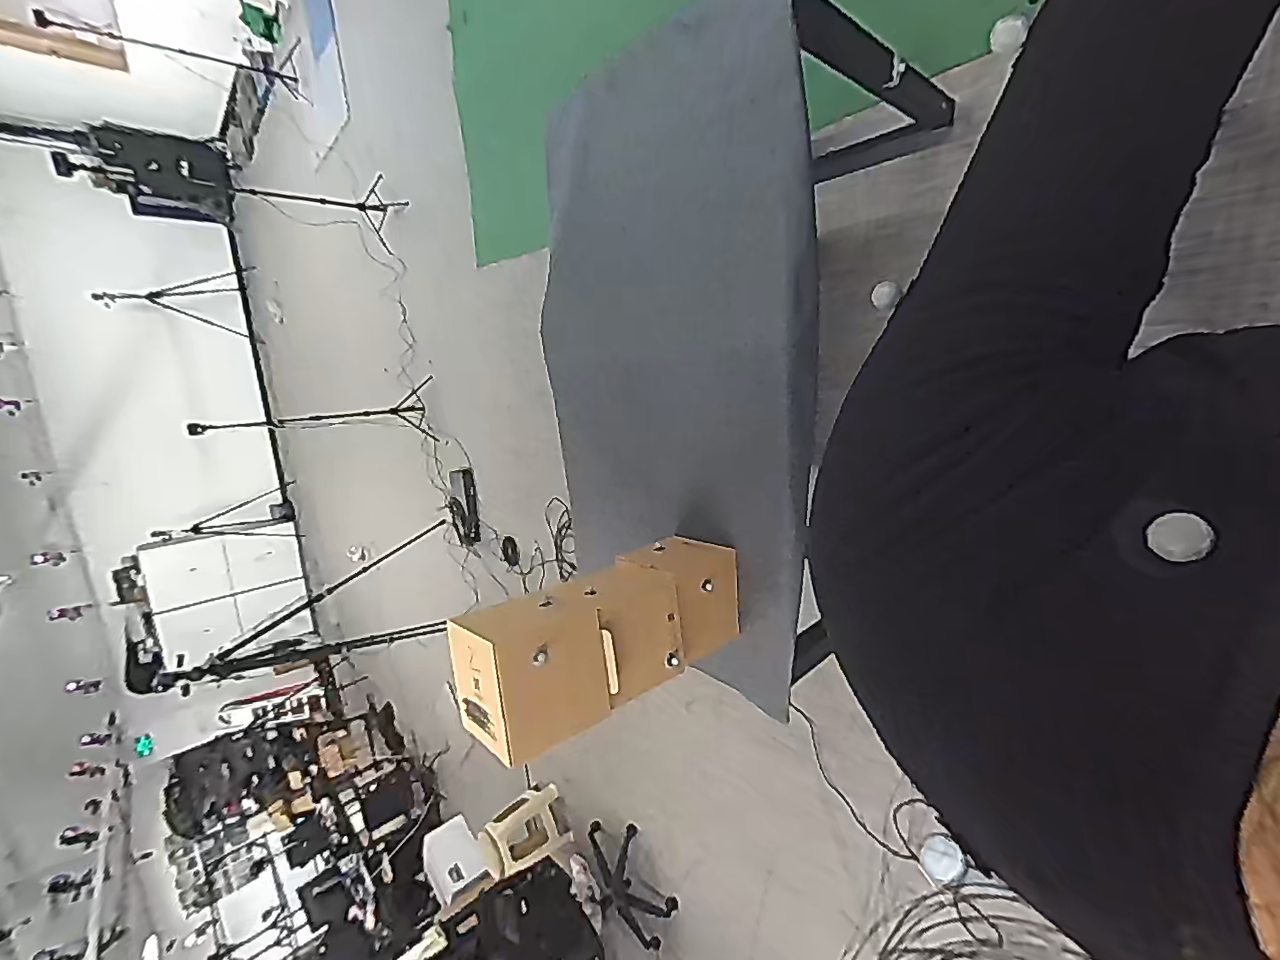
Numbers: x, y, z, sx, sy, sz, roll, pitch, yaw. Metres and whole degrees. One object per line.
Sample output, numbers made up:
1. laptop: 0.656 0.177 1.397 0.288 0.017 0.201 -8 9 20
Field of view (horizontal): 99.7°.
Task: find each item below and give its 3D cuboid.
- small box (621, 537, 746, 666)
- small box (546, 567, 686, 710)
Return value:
1. small box: 0.086 0.218 1.030 0.168 0.176 0.179 7 106 50
2. small box: -0.036 0.256 0.926 0.179 0.176 0.168 1 100 51
